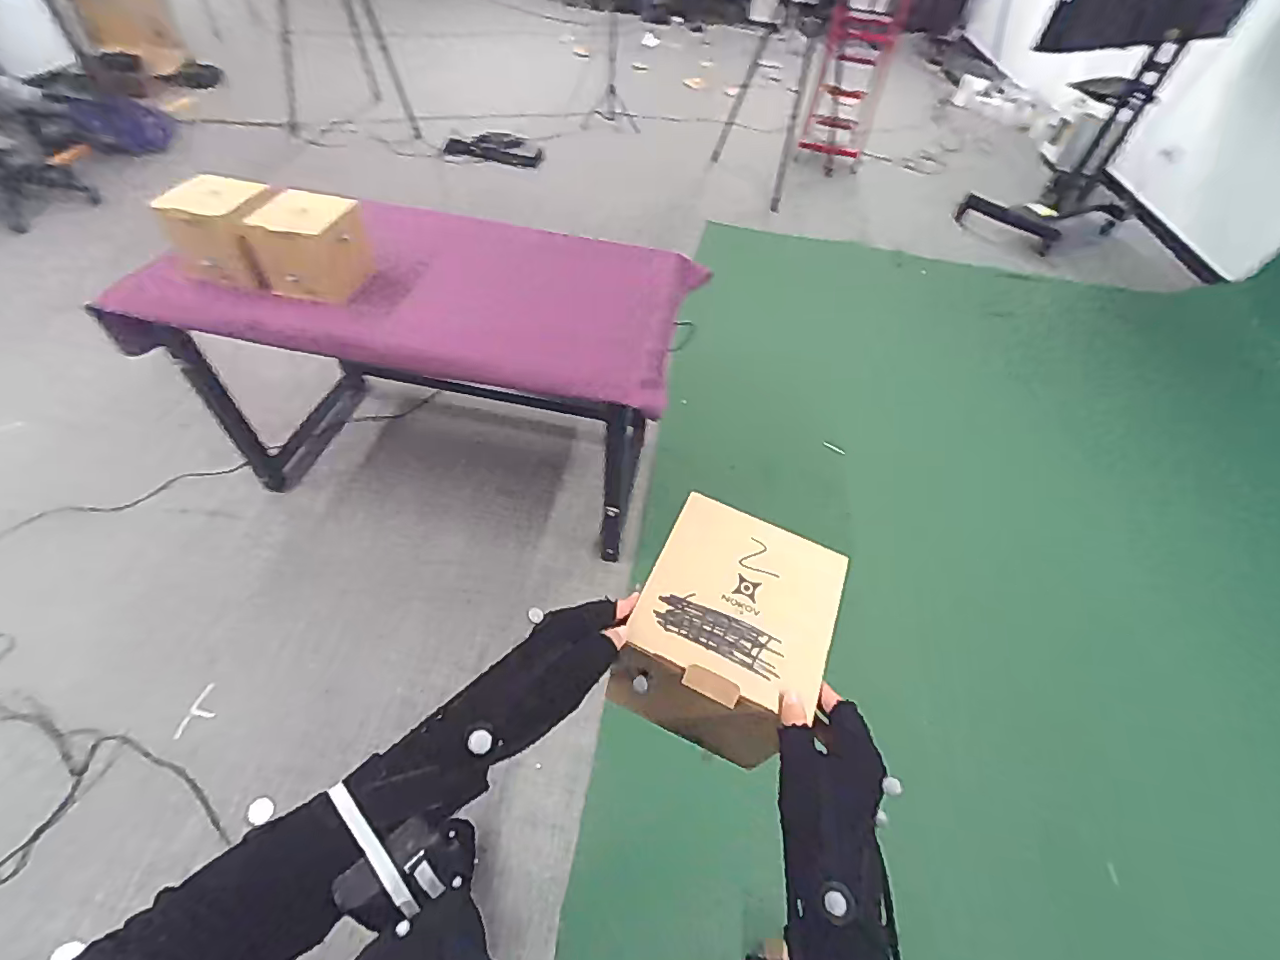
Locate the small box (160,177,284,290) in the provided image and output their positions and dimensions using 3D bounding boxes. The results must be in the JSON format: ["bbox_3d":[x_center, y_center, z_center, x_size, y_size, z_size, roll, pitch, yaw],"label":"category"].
[{"bbox_3d":[-0.935,-0.572,1.258,0.168,0.176,0.179,11,50,3],"label":"small box"}]

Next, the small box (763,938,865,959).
[{"bbox_3d":[0.331,0.994,1.022,0.179,0.176,0.168,12,50,3],"label":"small box"}]

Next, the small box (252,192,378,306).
[{"bbox_3d":[-0.732,-0.531,1.248,0.168,0.176,0.179,11,51,3],"label":"small box"}]
